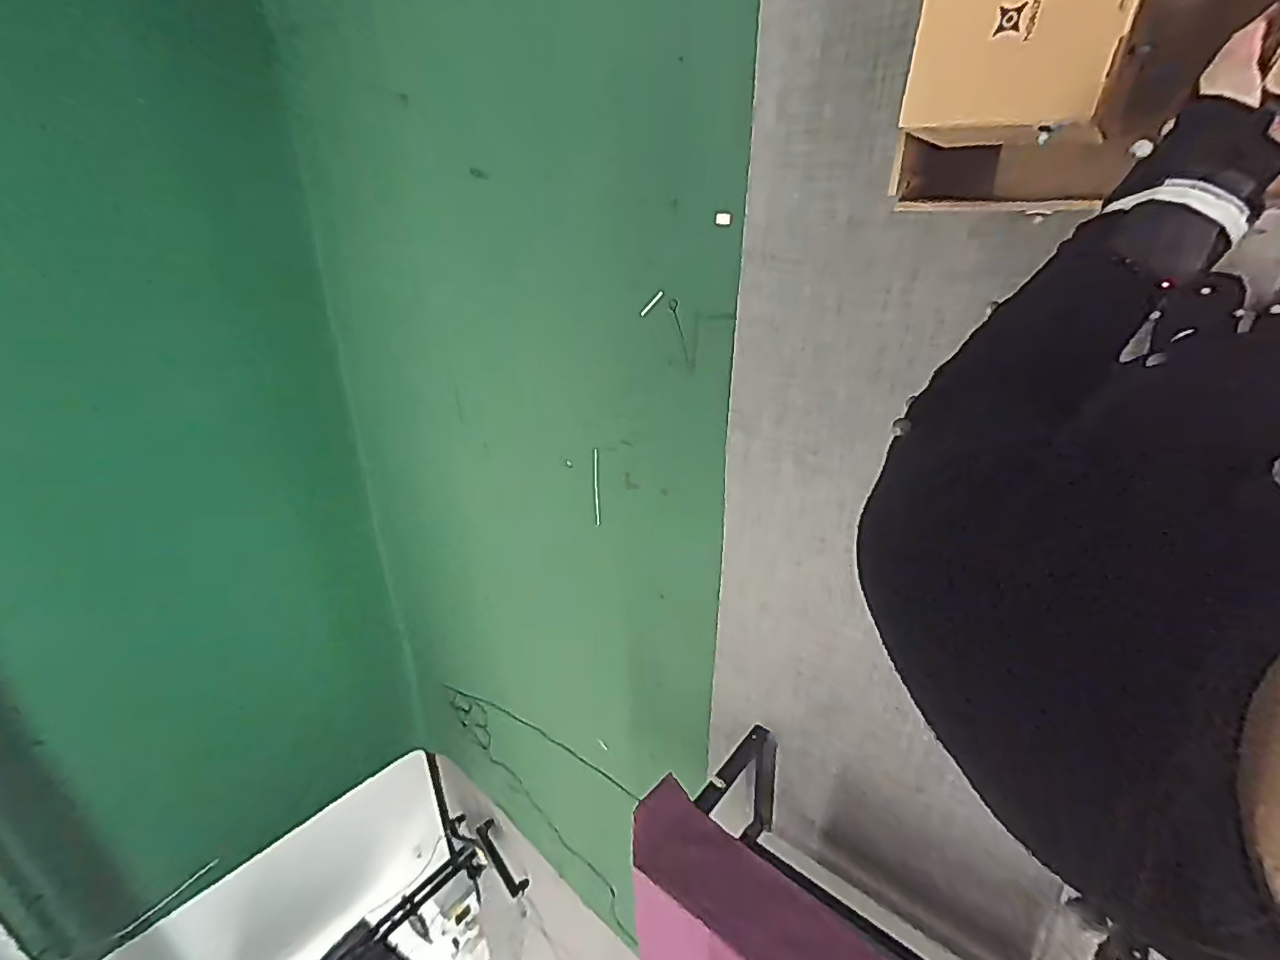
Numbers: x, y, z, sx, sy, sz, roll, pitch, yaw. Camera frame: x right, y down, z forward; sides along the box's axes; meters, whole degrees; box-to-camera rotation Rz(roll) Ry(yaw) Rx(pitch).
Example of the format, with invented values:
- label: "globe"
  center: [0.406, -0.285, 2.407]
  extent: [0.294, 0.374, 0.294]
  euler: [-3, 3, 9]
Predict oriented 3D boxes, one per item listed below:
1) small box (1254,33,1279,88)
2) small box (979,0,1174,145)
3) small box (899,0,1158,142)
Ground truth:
- label: "small box"
  center: [0.523, -0.314, 0.301]
  extent: [0.179, 0.176, 0.168]
  euler: [35, 146, 26]
- label: "small box"
  center: [0.511, -0.517, 0.661]
  extent: [0.179, 0.176, 0.168]
  euler: [22, 123, 35]
- label: "small box"
  center: [0.402, -0.455, 0.557]
  extent: [0.179, 0.176, 0.168]
  euler: [23, 123, 35]
